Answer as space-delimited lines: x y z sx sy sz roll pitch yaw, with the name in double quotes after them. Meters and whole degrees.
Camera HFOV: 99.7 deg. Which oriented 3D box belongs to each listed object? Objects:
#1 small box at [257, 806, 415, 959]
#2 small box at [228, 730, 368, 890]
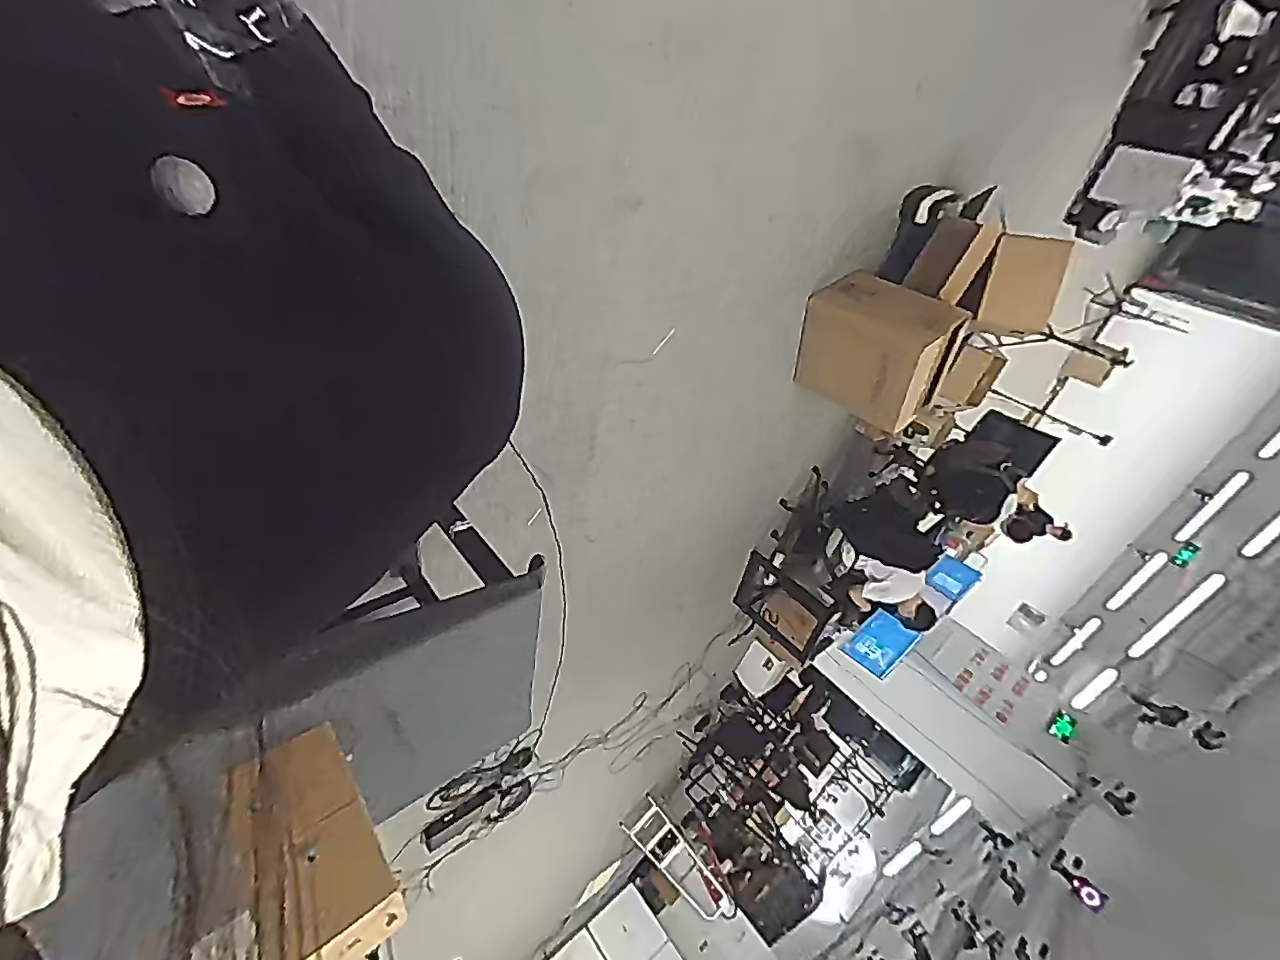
-0.488 0.680 0.871 0.179 0.176 0.168 -22 138 -37 "small box"
-0.596 0.590 0.955 0.179 0.176 0.168 -23 139 -38 "small box"
